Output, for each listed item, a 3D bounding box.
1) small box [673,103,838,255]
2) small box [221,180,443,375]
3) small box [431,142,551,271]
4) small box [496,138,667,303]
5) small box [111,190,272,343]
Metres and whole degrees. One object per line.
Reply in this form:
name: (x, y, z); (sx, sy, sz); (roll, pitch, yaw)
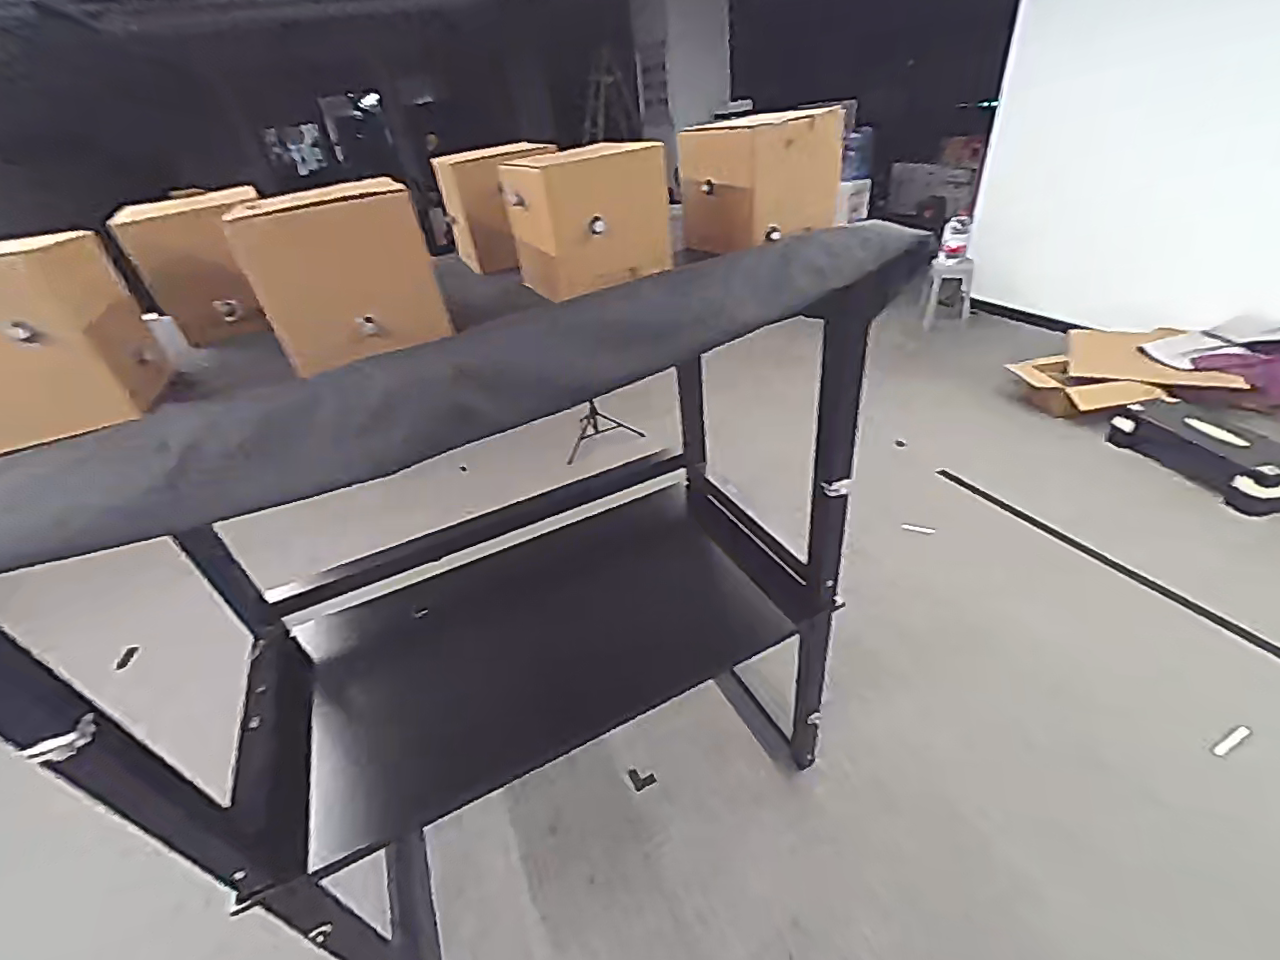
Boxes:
small box: (0.171, -0.450, 0.816); (0.168, 0.176, 0.179); (-25, 37, -21)
small box: (-0.350, -0.246, 0.645); (0.179, 0.176, 0.168); (-21, 37, -19)
small box: (-0.240, -0.479, 0.945); (0.179, 0.176, 0.168); (-21, 38, -17)
small box: (-0.076, -0.356, 0.742); (0.168, 0.176, 0.179); (-23, 37, -19)
small box: (-0.616, -0.318, 0.801); (0.168, 0.176, 0.179); (-26, 39, -22)
